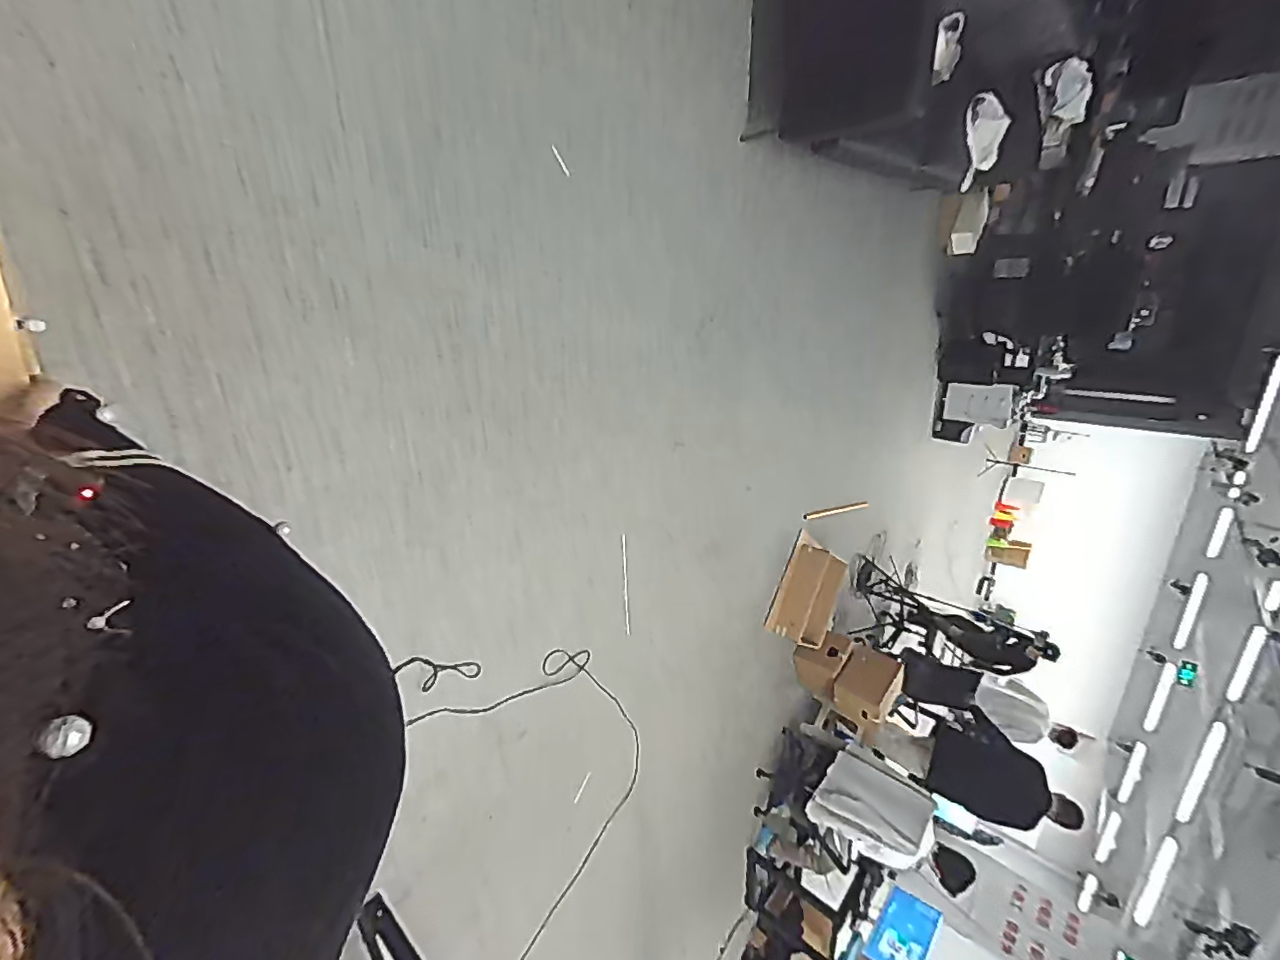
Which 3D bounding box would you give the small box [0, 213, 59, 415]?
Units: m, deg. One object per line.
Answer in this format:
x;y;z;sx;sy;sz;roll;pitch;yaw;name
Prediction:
-0.662;-0.156;0.482;0.168;0.176;0.179;-15;119;-43;small box
